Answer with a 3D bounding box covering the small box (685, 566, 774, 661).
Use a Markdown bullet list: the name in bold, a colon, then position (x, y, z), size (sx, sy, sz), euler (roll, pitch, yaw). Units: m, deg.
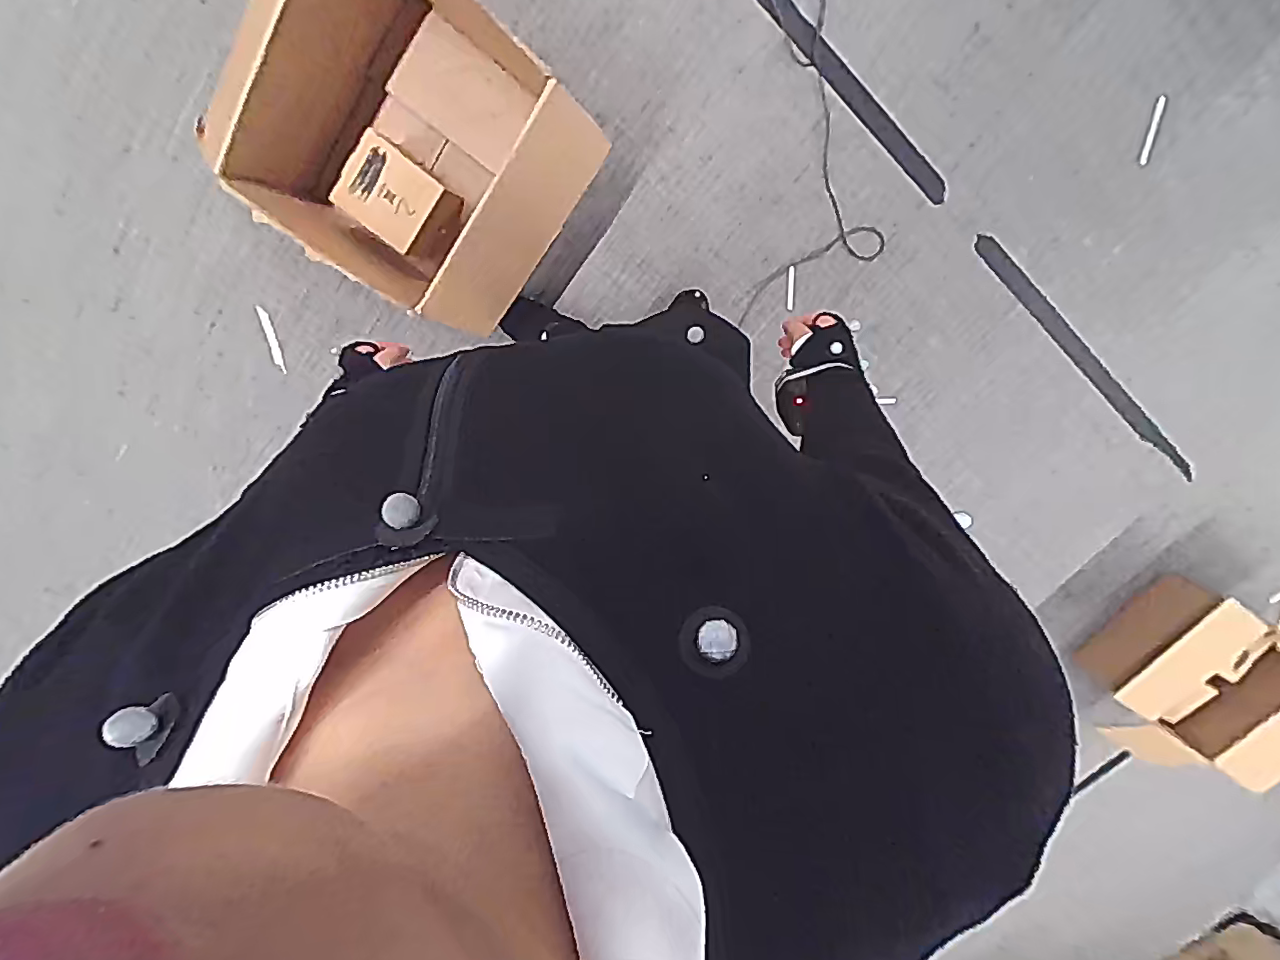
- **small box**: position (0.252, 0.381, 1.569), size (0.179, 0.176, 0.168), euler (38, 102, -14)
